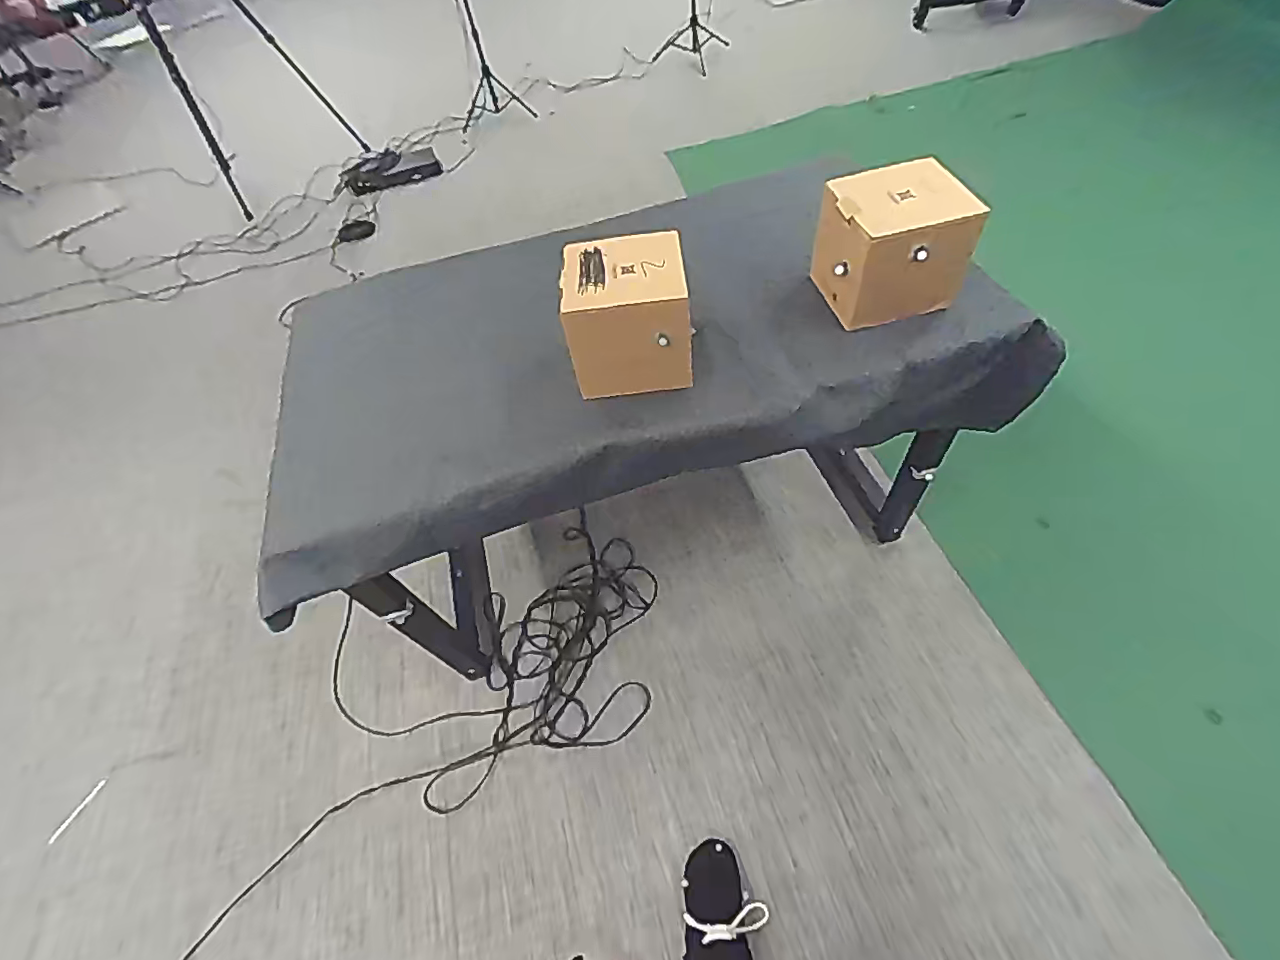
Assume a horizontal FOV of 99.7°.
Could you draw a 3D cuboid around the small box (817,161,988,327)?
[{"bbox_3d":[0.393,-0.366,0.855,0.179,0.176,0.168,-13,55,-1],"label":"small box"}]
